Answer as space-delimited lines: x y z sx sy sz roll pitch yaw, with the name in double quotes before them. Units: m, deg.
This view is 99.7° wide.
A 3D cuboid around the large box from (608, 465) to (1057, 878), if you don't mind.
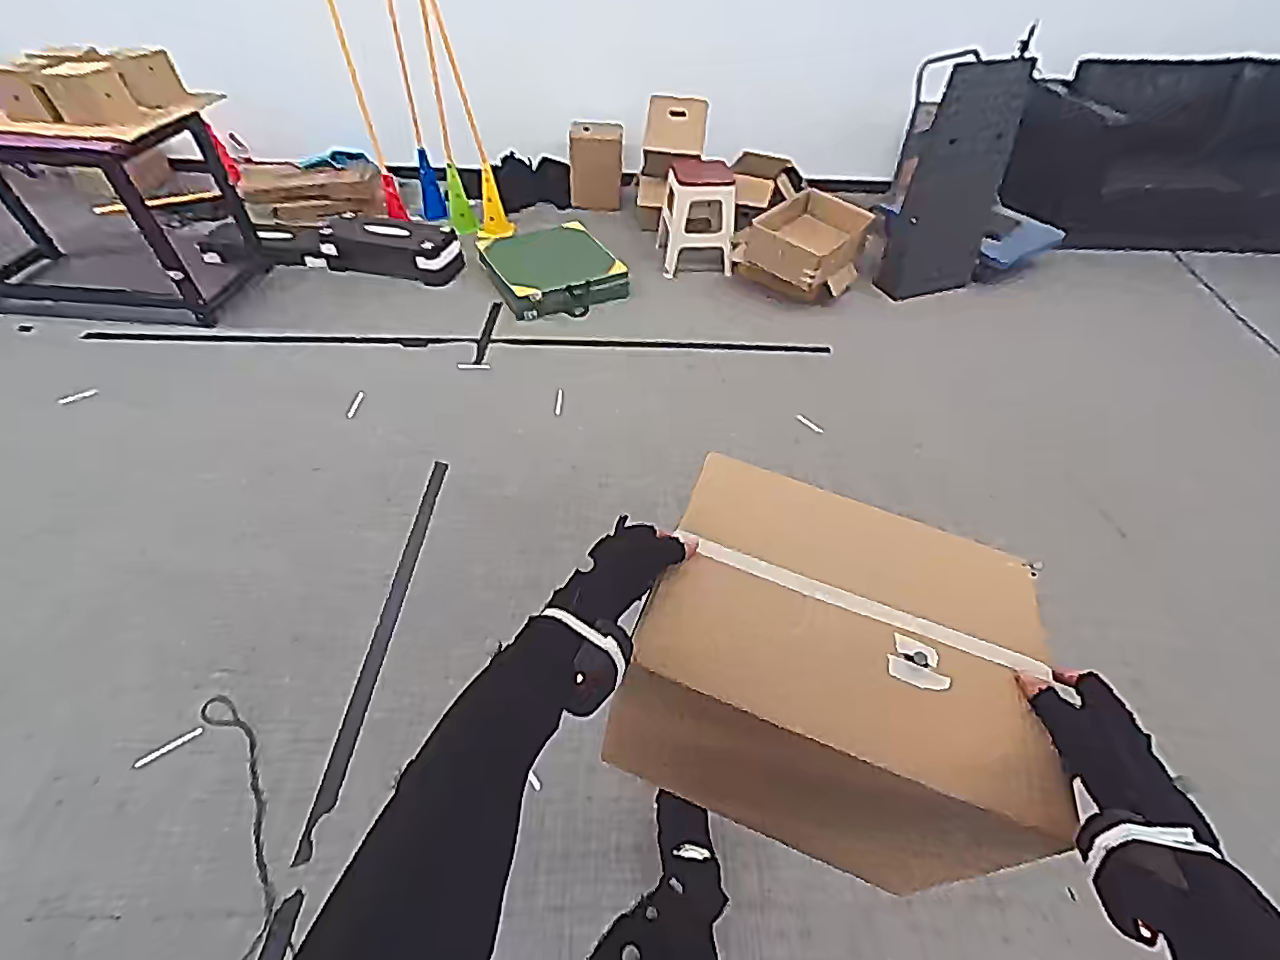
"large box" 0.205 0.242 0.701 0.408 0.320 0.320 20 48 8
